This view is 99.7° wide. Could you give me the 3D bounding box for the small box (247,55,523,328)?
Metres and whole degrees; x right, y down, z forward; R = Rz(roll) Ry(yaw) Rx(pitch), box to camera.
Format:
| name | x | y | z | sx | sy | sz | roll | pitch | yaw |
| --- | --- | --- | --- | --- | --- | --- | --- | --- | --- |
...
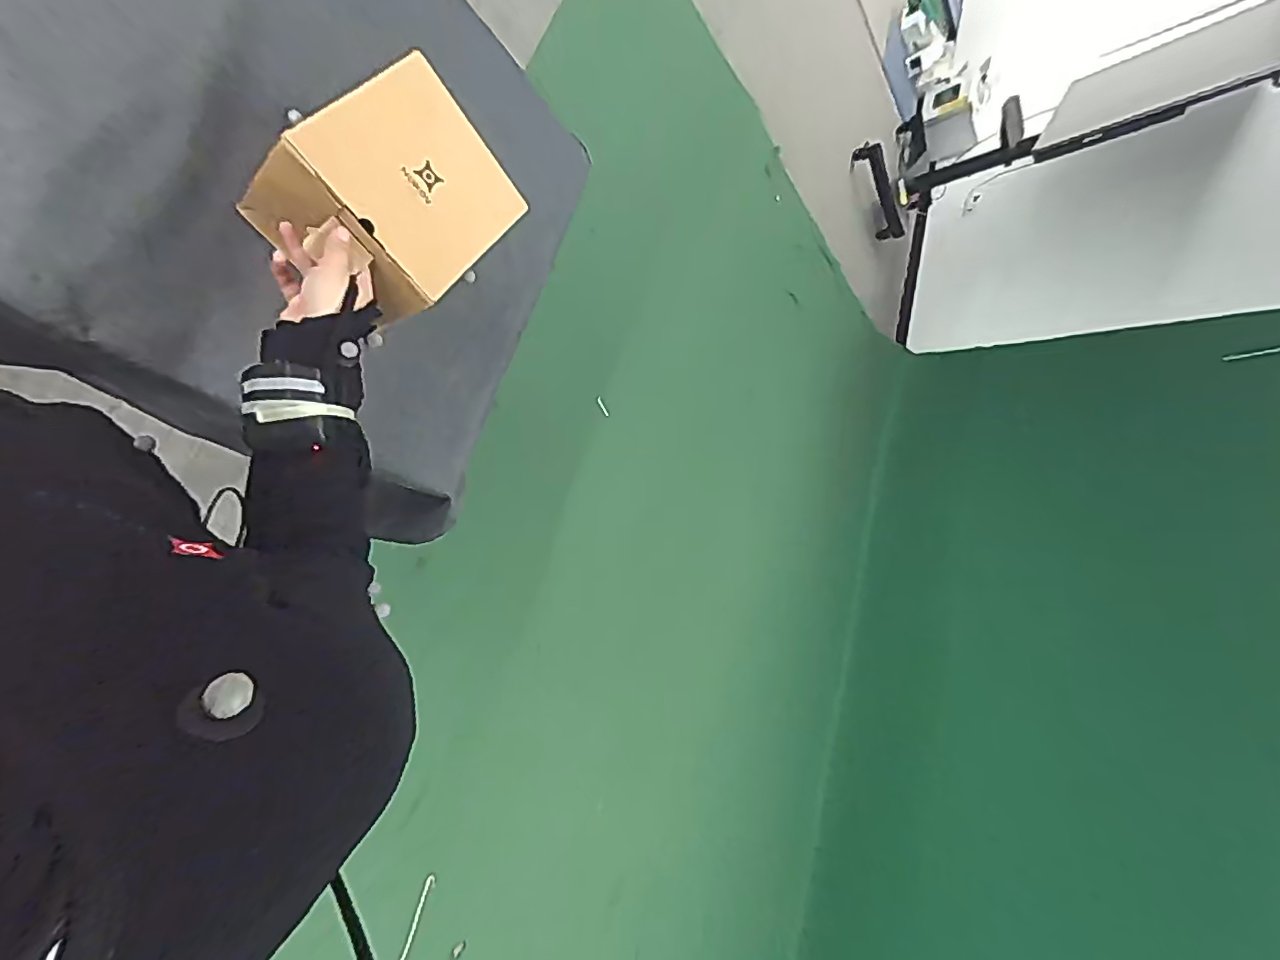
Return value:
| name | x | y | z | sx | sy | sz | roll | pitch | yaw |
| --- | --- | --- | --- | --- | --- | --- | --- | --- | --- |
| small box | -0.266 | -0.287 | 0.570 | 0.168 | 0.176 | 0.179 | 50 | 56 | -36 |
